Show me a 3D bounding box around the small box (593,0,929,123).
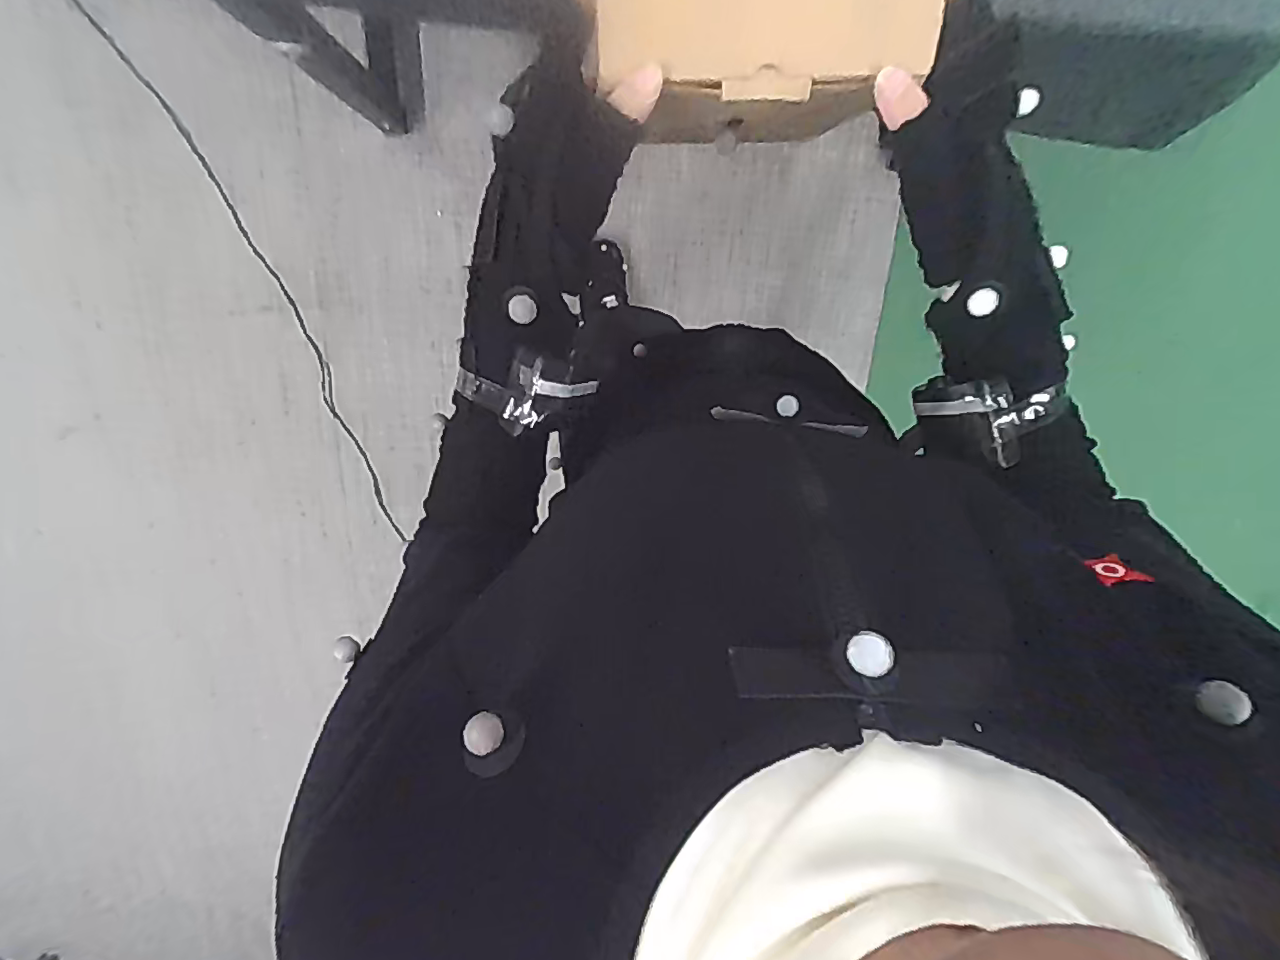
[{"bbox_3d":[0.056,-0.318,0.310,0.168,0.176,0.179,-3,114,-3],"label":"small box"}]
